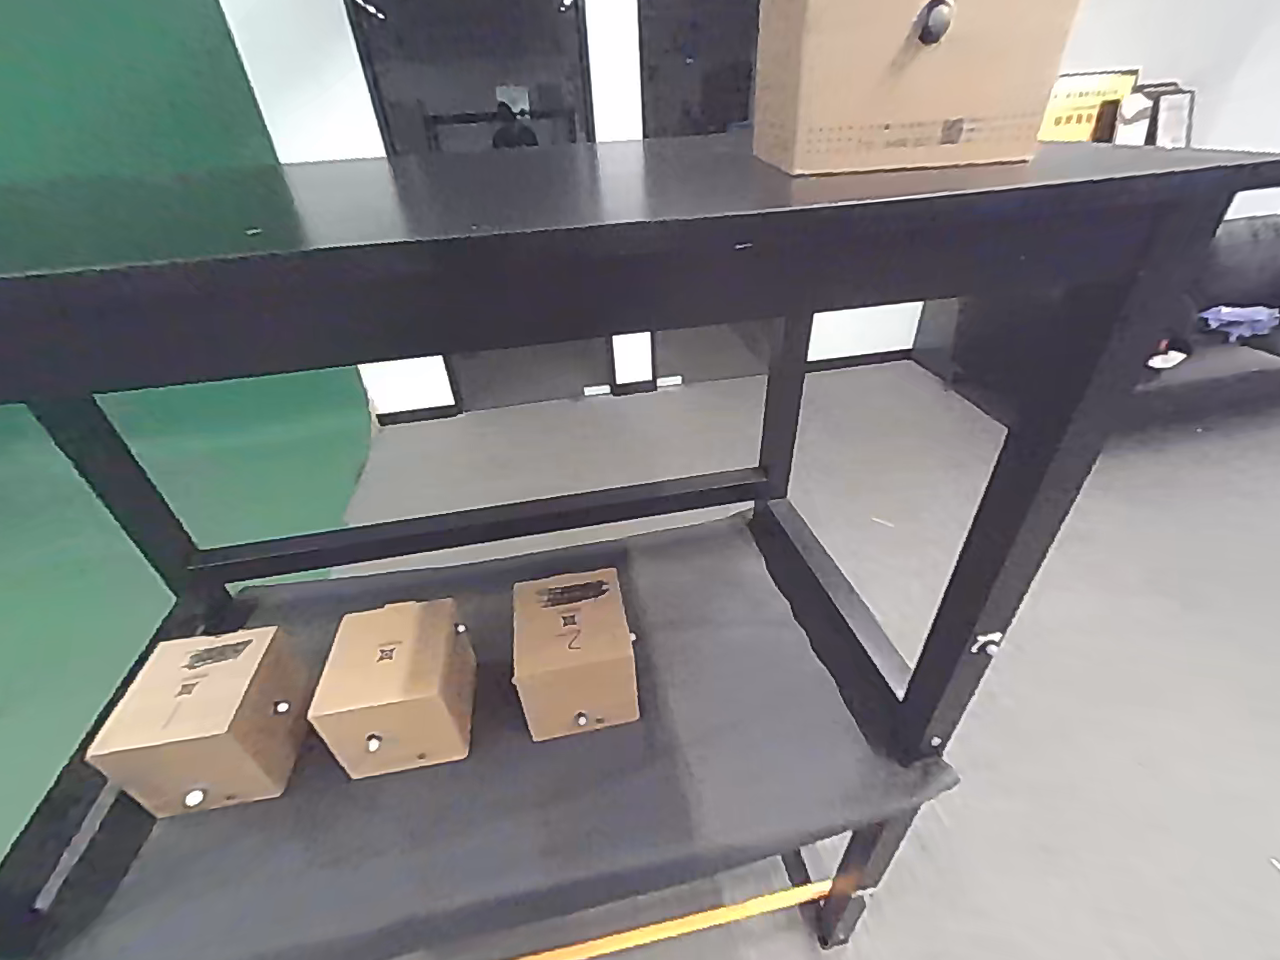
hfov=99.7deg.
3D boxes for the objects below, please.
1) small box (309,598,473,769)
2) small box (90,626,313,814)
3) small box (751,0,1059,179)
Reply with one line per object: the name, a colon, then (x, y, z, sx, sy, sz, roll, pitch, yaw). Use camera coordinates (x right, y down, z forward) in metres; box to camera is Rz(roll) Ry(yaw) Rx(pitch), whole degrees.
small box: (-0.356, 0.309, 0.815, 0.168, 0.176, 0.179, -8, 35, -7)
small box: (-0.605, 0.343, 0.782, 0.168, 0.176, 0.179, -8, 36, -6)
small box: (0.181, -0.327, 0.402, 0.168, 0.176, 0.179, -2, 35, 2)
